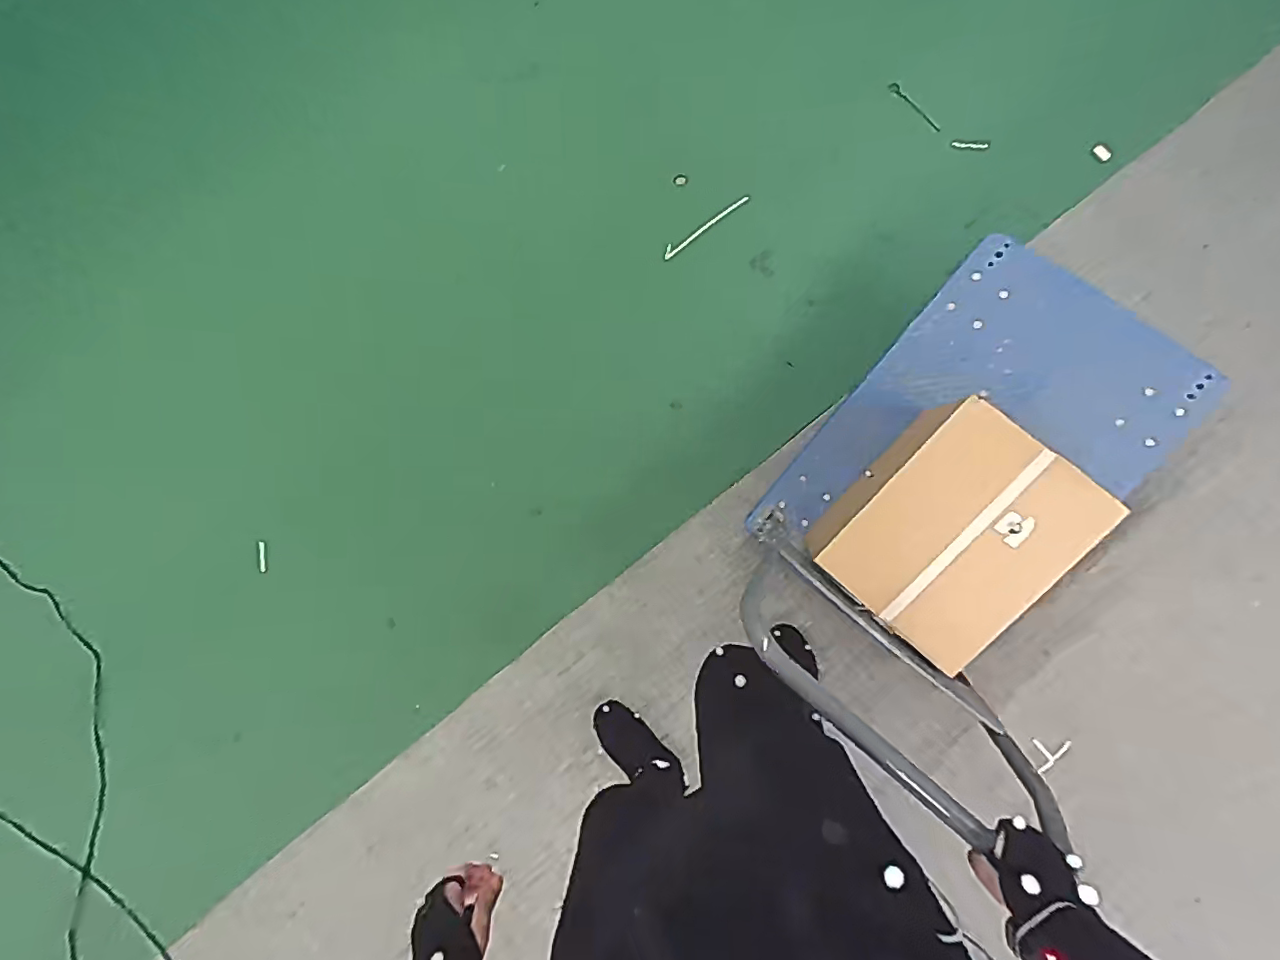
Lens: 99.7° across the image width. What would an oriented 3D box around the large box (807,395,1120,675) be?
[{"bbox_3d":[0.593,0.099,1.091,0.320,0.320,0.408,42,99,9],"label":"large box"}]
